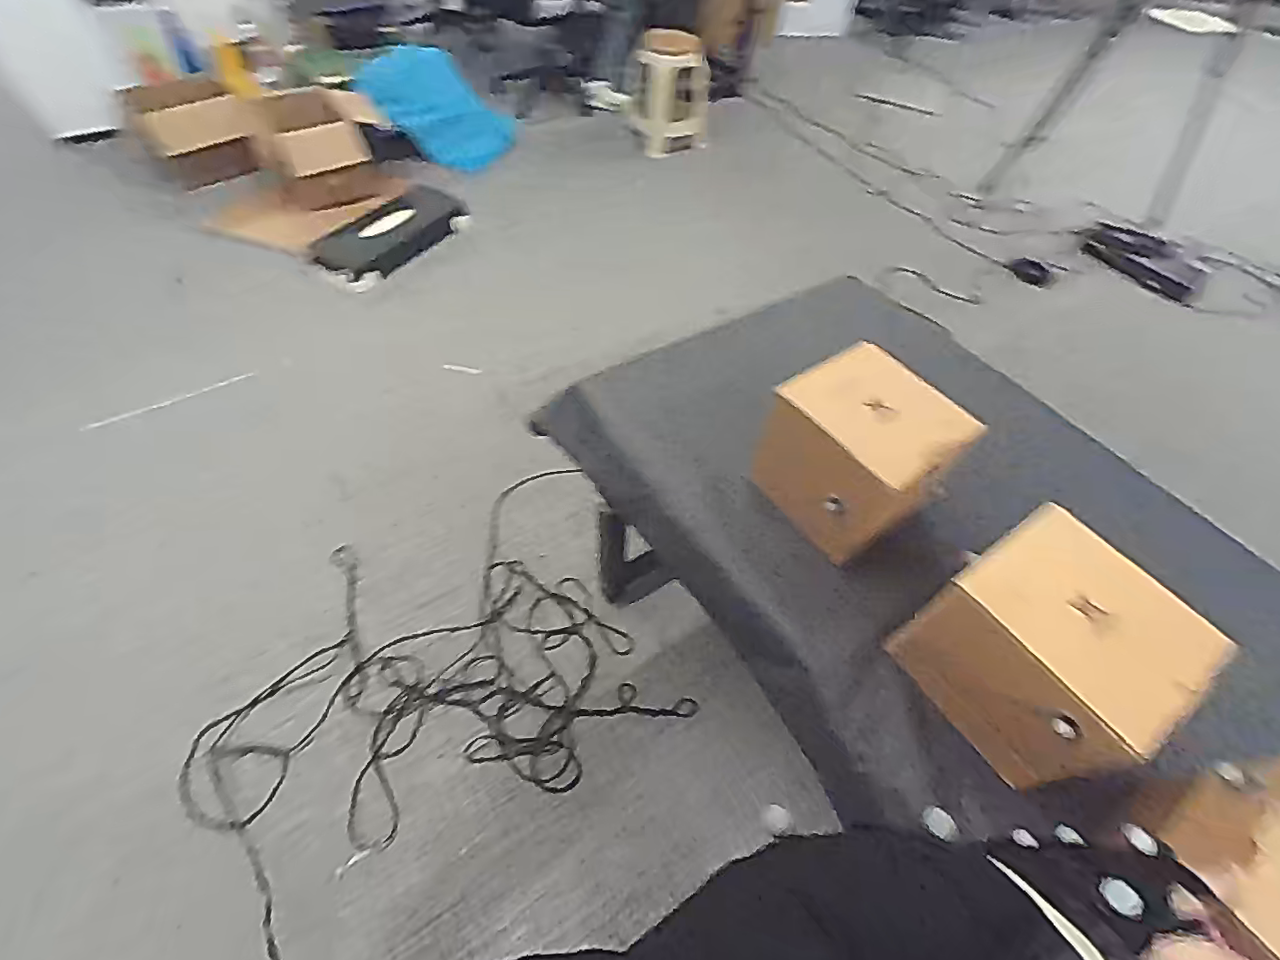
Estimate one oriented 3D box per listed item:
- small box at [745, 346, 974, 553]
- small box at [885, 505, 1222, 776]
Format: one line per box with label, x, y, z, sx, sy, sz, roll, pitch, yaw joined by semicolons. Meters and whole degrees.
small box;0.260;-0.031;0.682;0.168;0.176;0.179;-29;59;-24
small box;0.390;0.163;0.546;0.168;0.176;0.179;-27;60;-22
